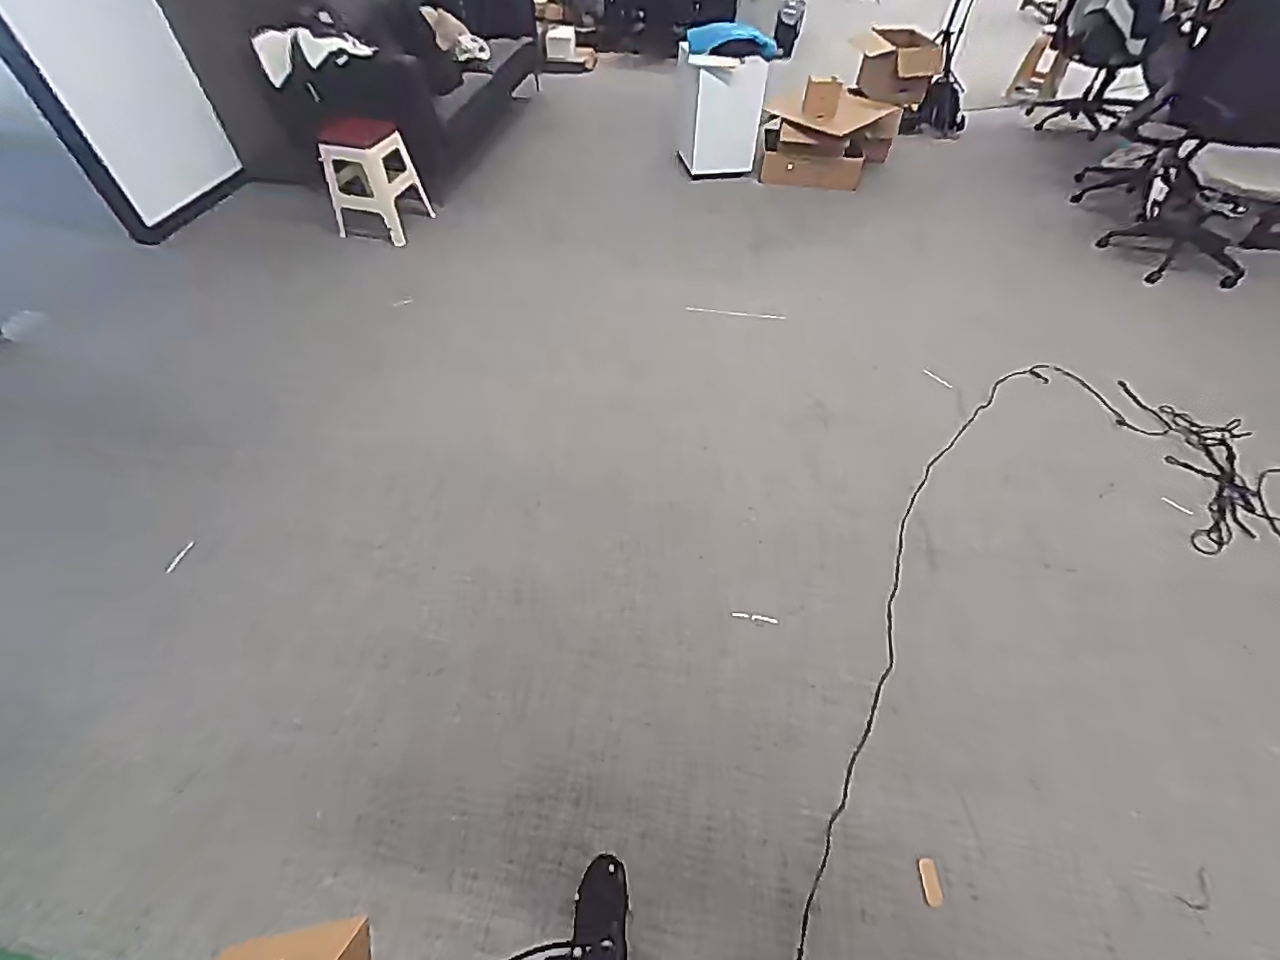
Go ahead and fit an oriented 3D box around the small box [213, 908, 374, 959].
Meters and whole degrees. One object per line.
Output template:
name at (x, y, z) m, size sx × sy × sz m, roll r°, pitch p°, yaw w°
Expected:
small box at (-0.422, 0.645, 0.620) m, size 0.168 × 0.179 × 0.176 m, roll -7°, pitch 79°, yaw -7°
